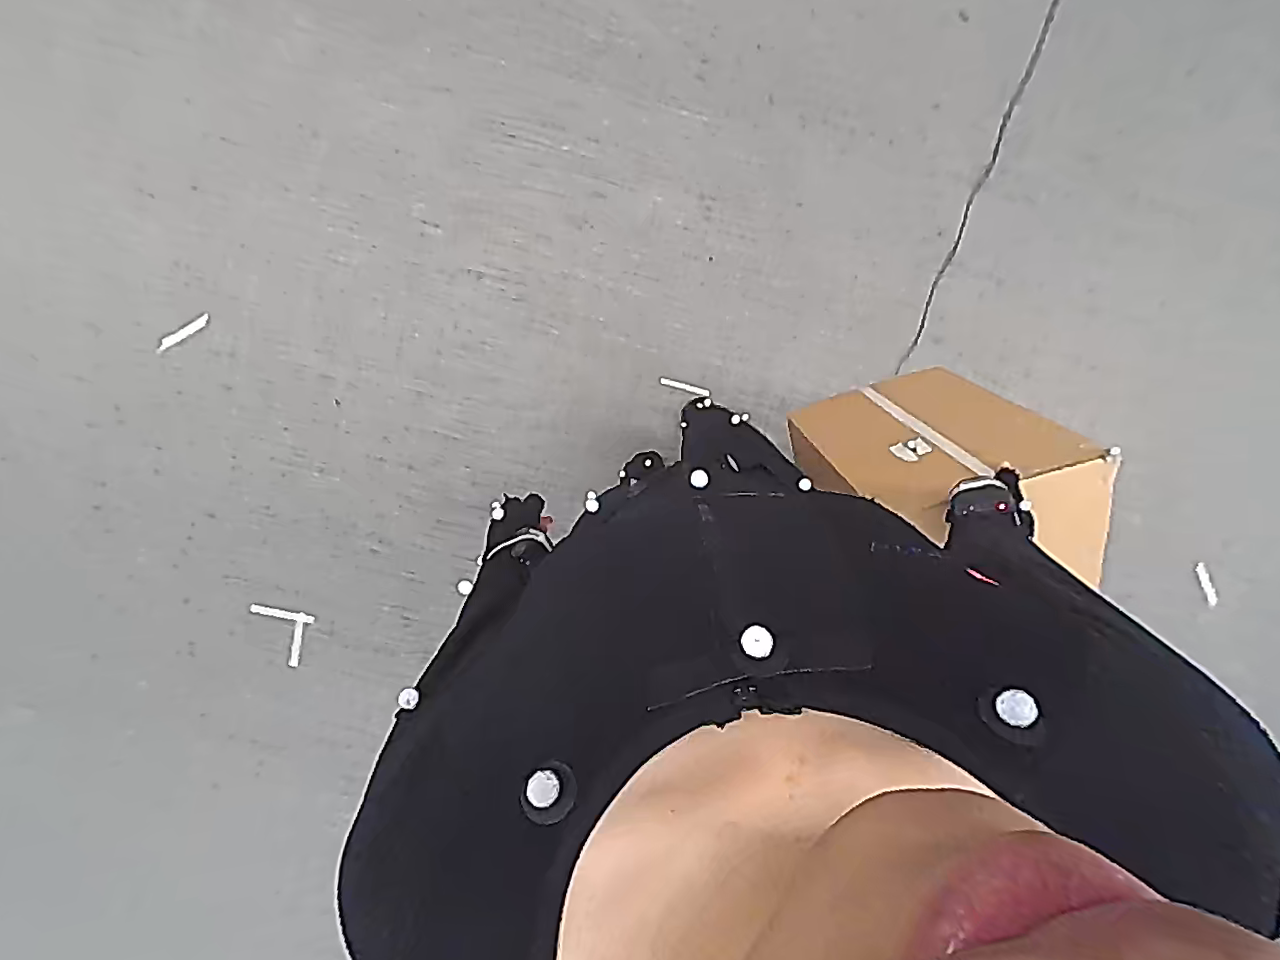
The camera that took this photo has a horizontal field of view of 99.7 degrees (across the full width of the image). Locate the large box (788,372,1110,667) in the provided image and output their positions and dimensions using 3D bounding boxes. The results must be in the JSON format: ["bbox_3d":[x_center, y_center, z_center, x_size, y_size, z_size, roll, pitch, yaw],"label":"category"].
[{"bbox_3d":[0.500,0.048,0.969,0.320,0.408,0.320,-18,119,3],"label":"large box"}]
